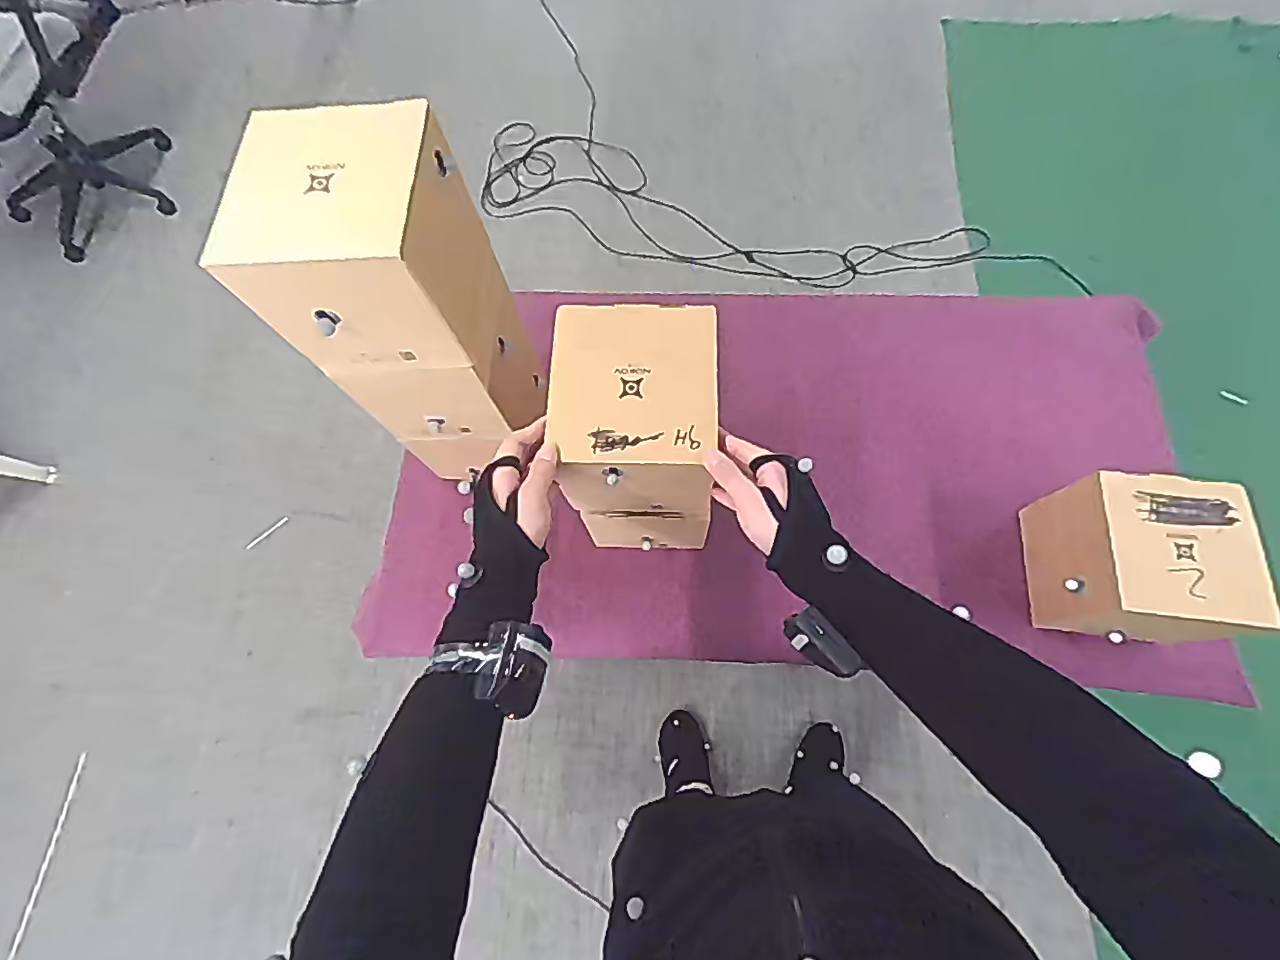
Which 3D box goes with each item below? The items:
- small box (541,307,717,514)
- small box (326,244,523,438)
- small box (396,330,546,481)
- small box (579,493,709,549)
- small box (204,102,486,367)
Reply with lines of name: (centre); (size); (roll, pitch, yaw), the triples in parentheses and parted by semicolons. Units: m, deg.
small box: (-0.003, -0.070, 0.604); (0.168, 0.176, 0.179); (1, 72, 5)
small box: (-0.252, -0.167, 0.681); (0.168, 0.176, 0.179); (-1, 71, 4)
small box: (-0.245, -0.110, 0.833); (0.168, 0.176, 0.179); (0, 71, 3)
small box: (0.011, -0.007, 0.782); (0.168, 0.176, 0.179); (1, 70, 4)
small box: (-0.261, -0.223, 0.528); (0.168, 0.176, 0.179); (-1, 69, 4)
